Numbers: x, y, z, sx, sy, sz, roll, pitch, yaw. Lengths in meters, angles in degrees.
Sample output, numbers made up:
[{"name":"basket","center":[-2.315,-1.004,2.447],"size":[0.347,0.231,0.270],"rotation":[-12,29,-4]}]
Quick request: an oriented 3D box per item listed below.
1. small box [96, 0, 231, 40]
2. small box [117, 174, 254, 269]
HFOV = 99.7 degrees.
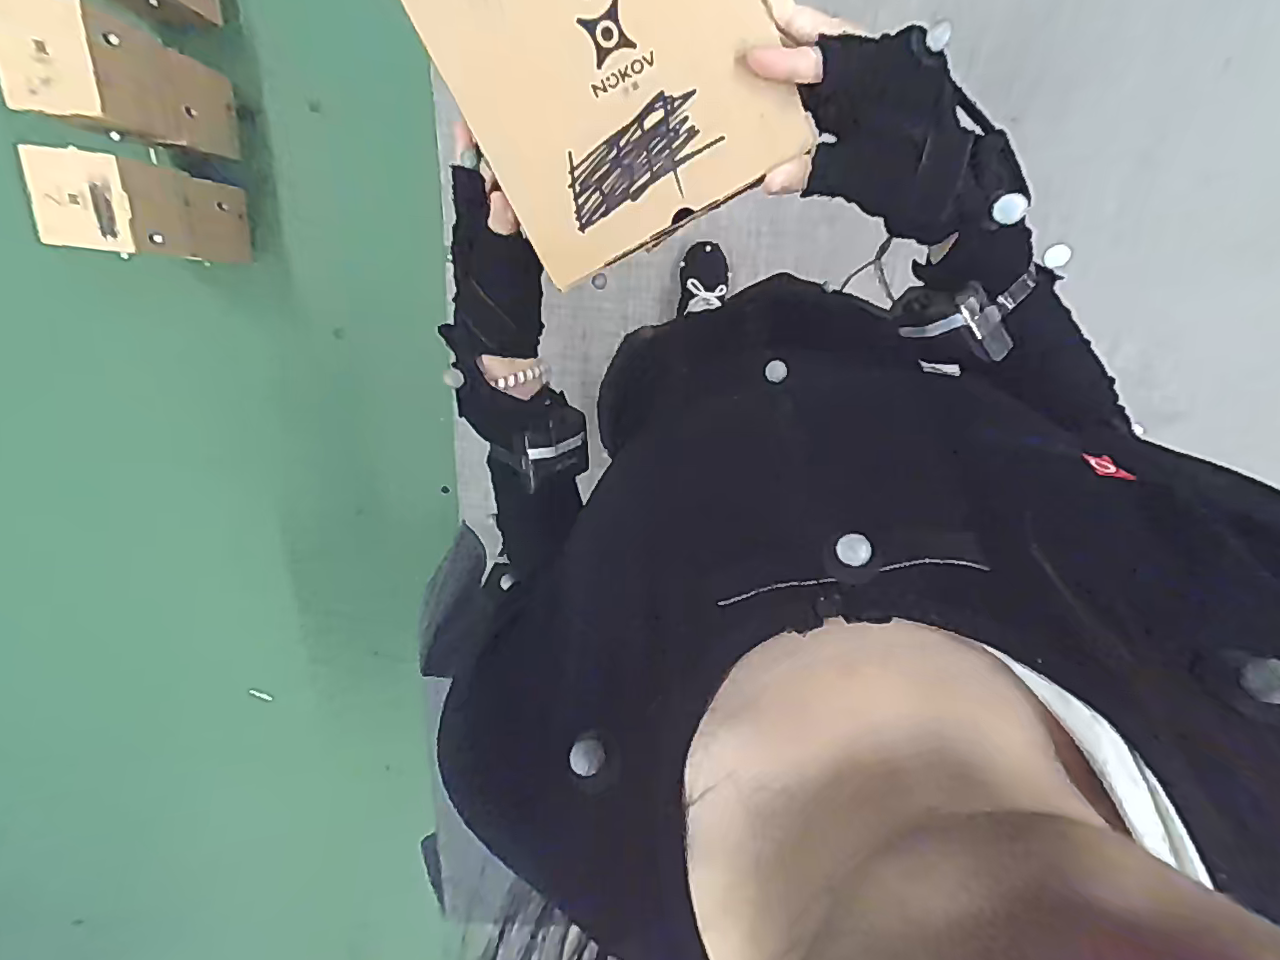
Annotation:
[{"name":"small box","center":[-0.975,-1.019,1.083],"size":[0.179,0.176,0.168],"rotation":[3,109,-2]},{"name":"small box","center":[-1.019,-0.581,1.235],"size":[0.179,0.176,0.168],"rotation":[8,109,-3]}]
